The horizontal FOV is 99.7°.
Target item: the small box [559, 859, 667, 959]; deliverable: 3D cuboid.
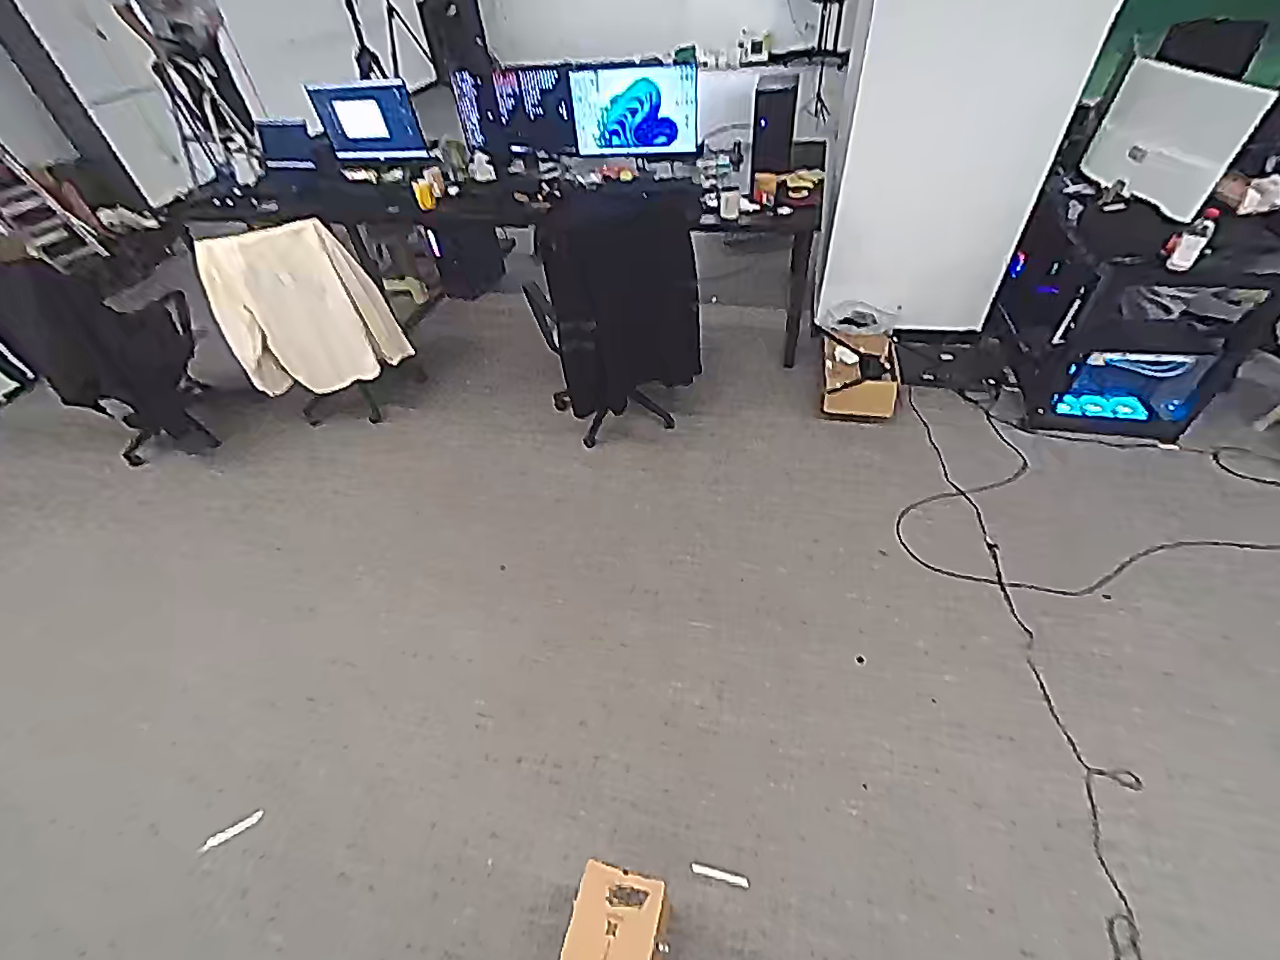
[{"bbox_3d":[-0.044,0.899,1.081,0.168,0.176,0.179,8,47,14],"label":"small box"}]
